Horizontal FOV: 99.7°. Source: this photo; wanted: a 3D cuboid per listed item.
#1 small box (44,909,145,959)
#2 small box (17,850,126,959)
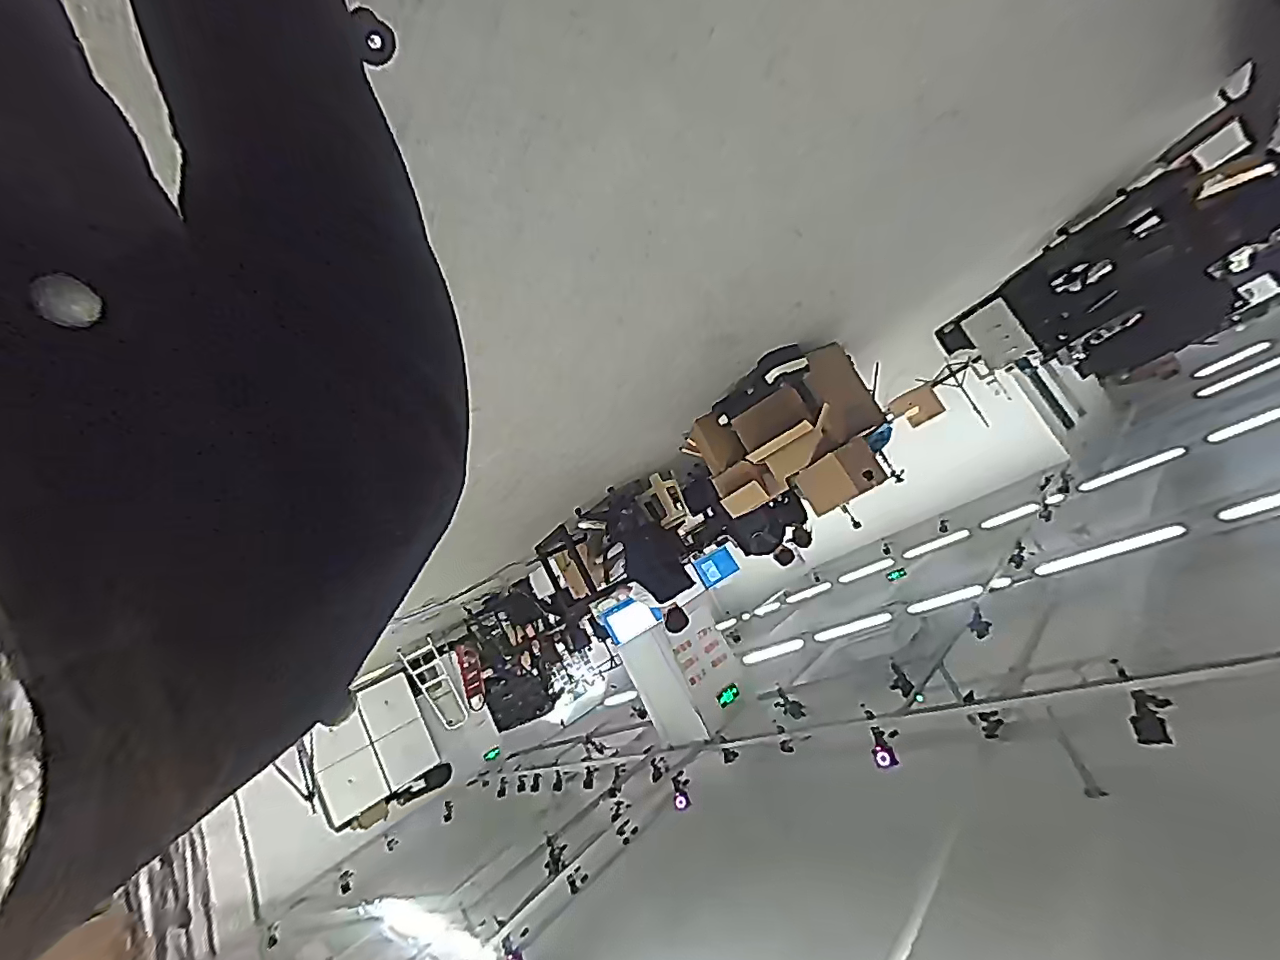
[{"bbox_3d":[-1.458,1.297,1.435,0.179,0.176,0.168,-20,167,-38],"label":"small box"},{"bbox_3d":[-1.552,1.152,1.481,0.168,0.176,0.179,-19,167,-44],"label":"small box"}]
